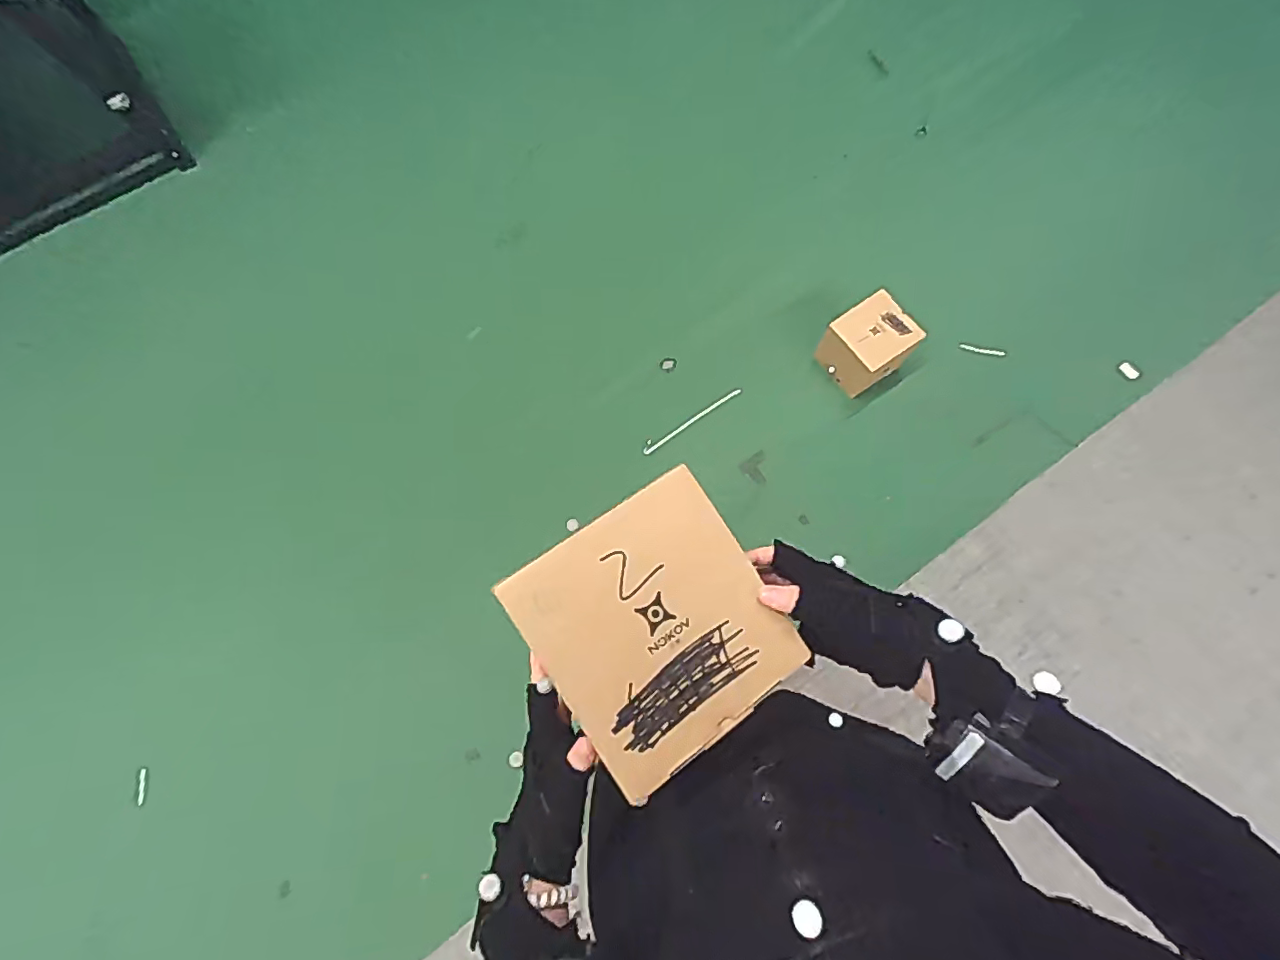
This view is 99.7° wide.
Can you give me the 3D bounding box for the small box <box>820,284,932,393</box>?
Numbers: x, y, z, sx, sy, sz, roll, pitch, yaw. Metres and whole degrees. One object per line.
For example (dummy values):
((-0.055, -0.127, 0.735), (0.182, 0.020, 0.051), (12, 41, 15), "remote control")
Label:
((0.596, -0.358, 1.392), (0.179, 0.176, 0.168), (-34, 76, -5), "small box")
